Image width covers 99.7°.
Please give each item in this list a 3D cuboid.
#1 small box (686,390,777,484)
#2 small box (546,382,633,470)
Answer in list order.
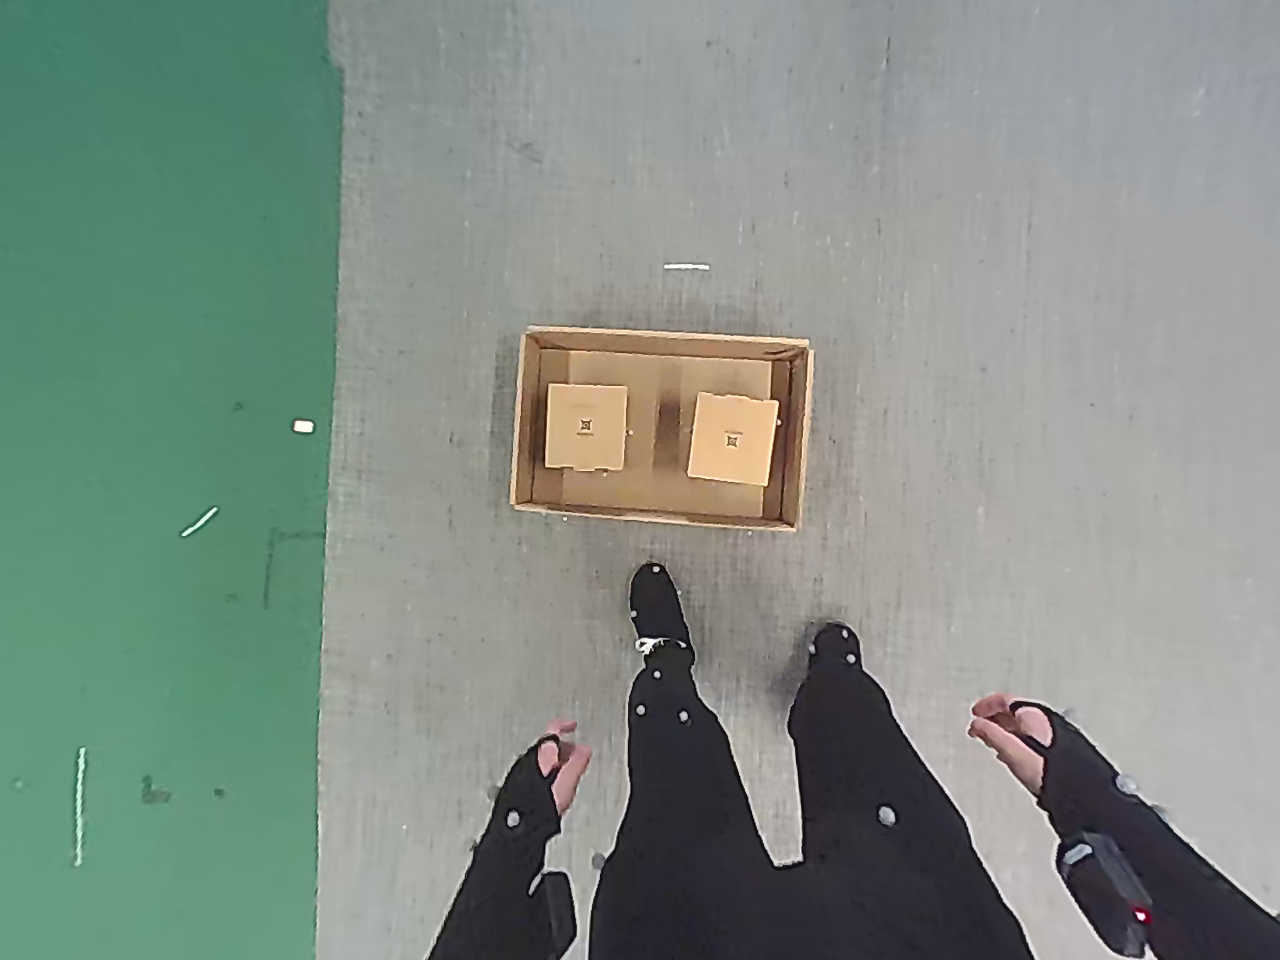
[{"bbox_3d":[0.194,-0.089,1.175,0.168,0.176,0.179,7,91,4],"label":"small box"},{"bbox_3d":[-0.106,-0.114,1.195,0.168,0.176,0.179,3,91,2],"label":"small box"}]
